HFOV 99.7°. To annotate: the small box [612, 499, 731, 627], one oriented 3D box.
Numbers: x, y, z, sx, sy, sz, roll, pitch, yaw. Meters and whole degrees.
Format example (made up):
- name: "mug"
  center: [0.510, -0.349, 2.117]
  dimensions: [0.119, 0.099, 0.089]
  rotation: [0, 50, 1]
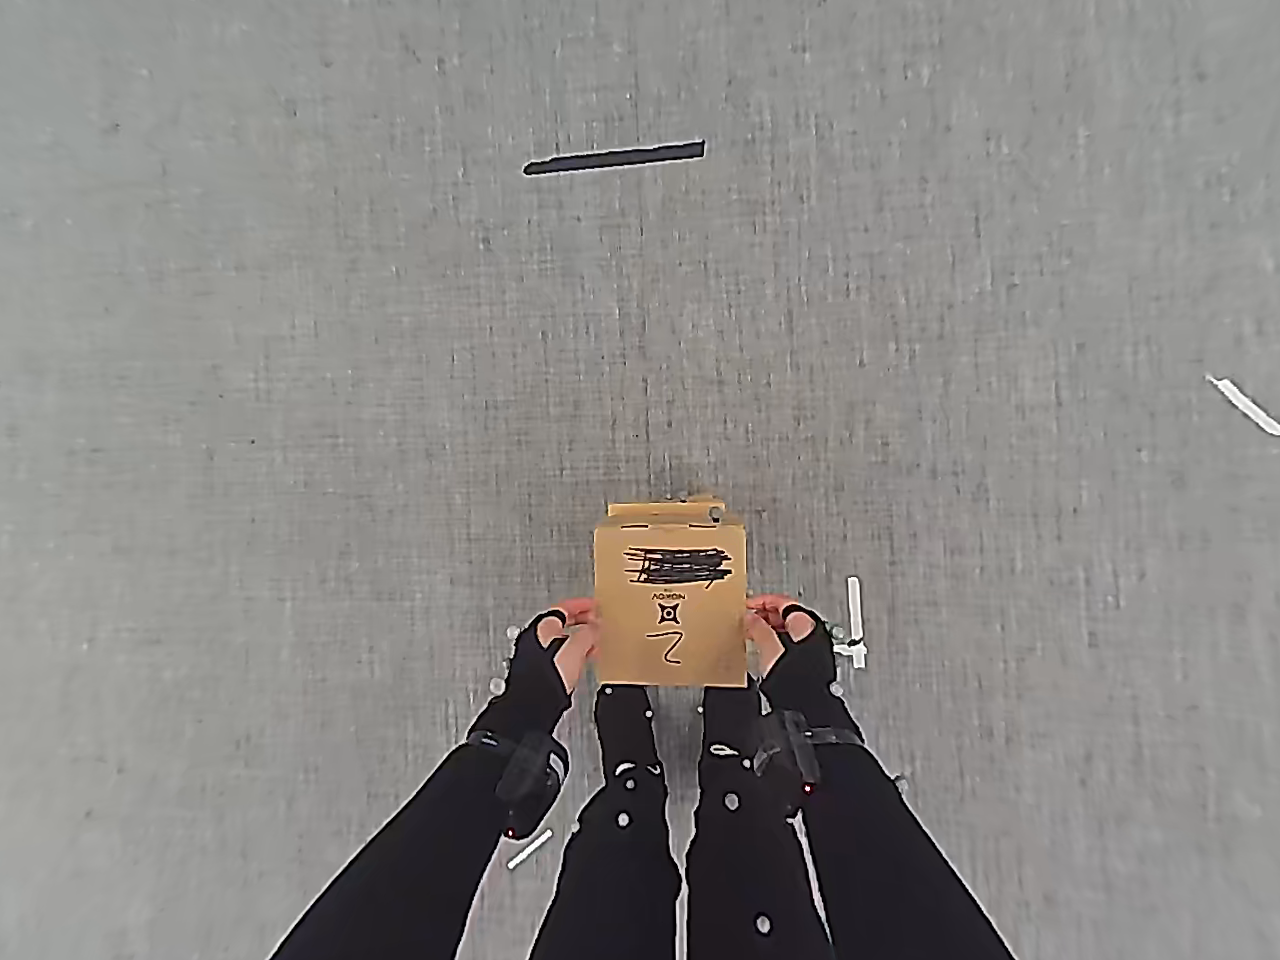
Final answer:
- name: "small box"
  center: [0.048, 0.116, 0.824]
  dimensions: [0.168, 0.176, 0.179]
  rotation: [-1, 90, 5]
